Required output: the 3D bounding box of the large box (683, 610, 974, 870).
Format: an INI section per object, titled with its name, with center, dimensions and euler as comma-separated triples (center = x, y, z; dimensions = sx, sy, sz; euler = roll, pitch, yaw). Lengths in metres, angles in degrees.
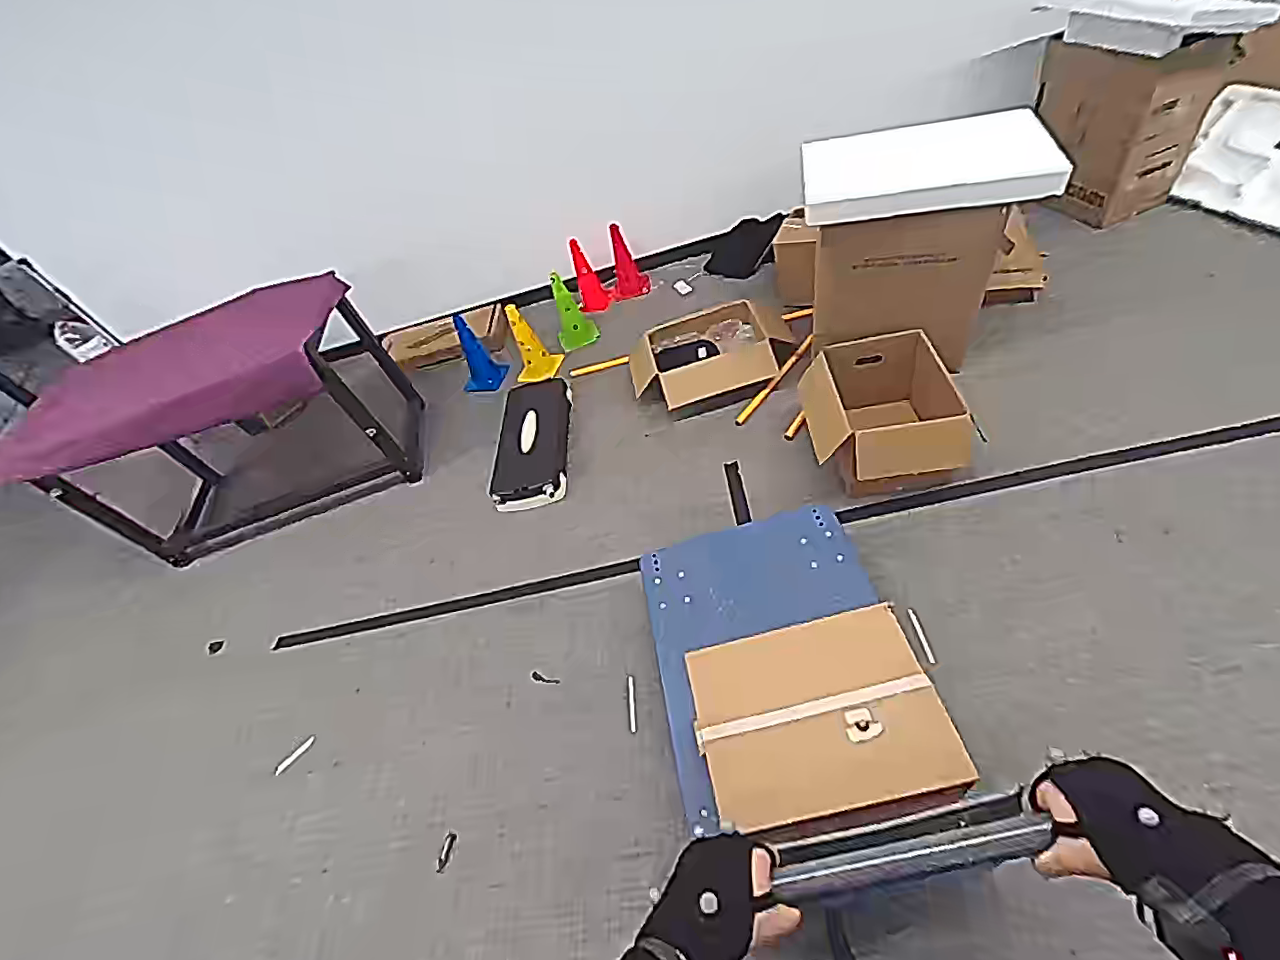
[large box]
center = 0.329, 0.505, 1.037
dimensions = 0.408, 0.320, 0.320
euler = -16, 48, 4
